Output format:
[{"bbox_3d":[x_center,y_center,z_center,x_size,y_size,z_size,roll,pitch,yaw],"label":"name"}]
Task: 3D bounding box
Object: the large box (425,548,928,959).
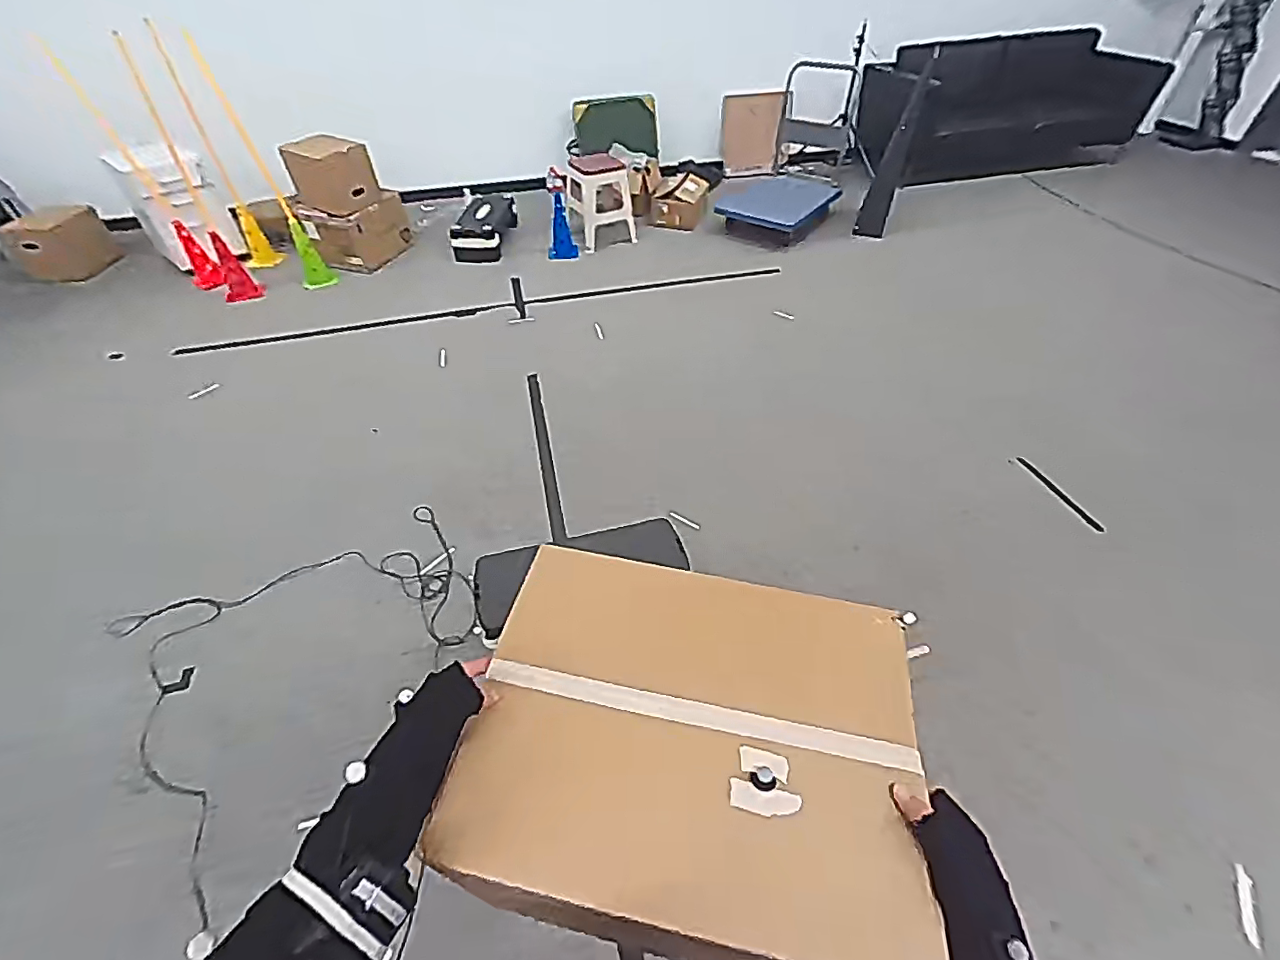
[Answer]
[{"bbox_3d":[0.041,0.318,0.624,0.408,0.320,0.320,9,47,7],"label":"large box"}]
